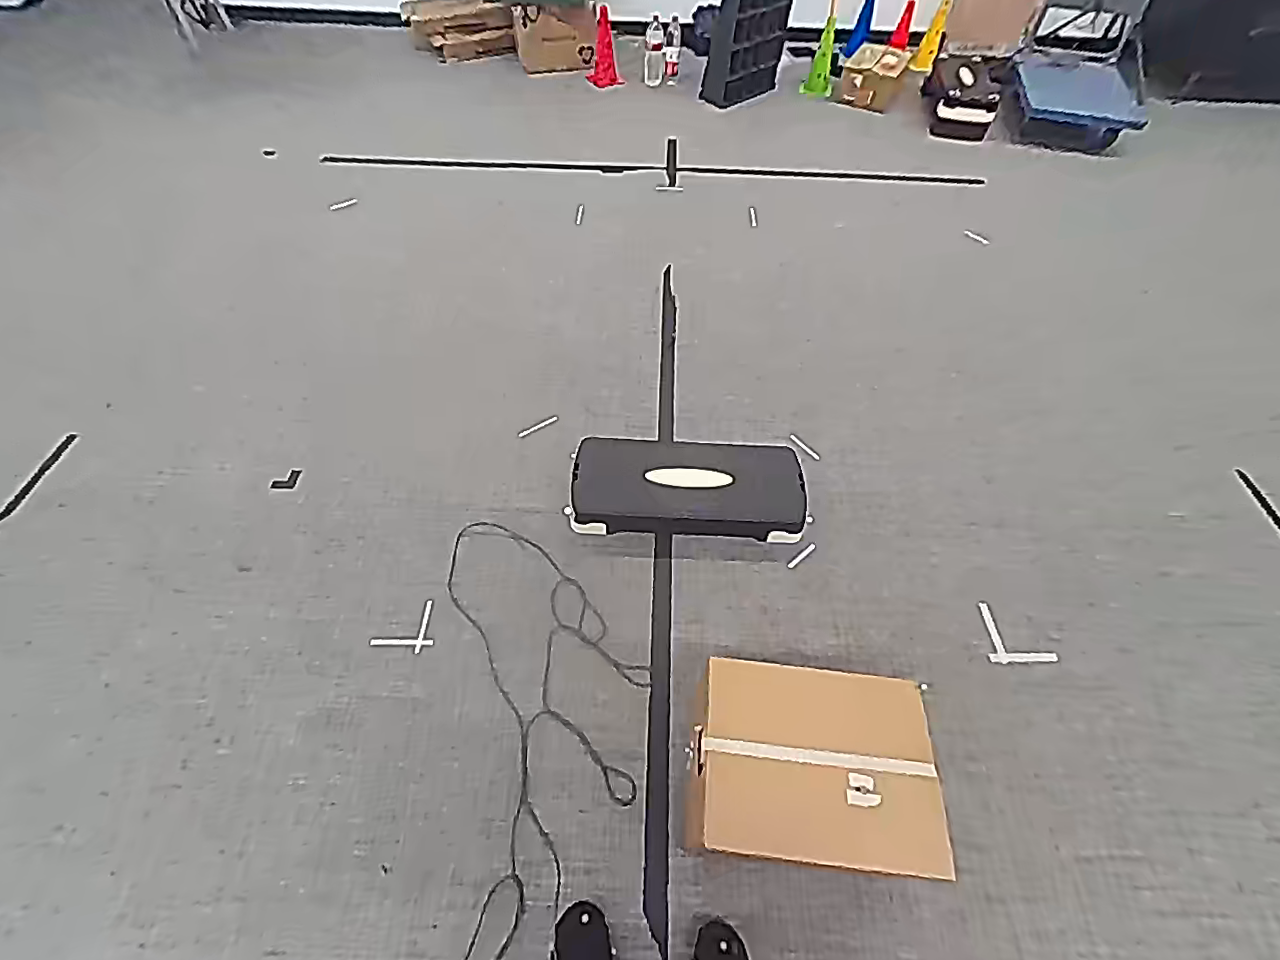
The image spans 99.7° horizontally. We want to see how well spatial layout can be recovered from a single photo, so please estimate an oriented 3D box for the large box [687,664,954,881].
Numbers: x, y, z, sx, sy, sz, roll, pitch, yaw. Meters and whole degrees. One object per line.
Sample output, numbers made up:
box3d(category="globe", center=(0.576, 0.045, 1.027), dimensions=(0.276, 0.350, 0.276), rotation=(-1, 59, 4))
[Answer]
box3d(category="large box", center=(0.309, 0.582, 1.068), dimensions=(0.408, 0.320, 0.320), rotation=(6, 55, 1))
